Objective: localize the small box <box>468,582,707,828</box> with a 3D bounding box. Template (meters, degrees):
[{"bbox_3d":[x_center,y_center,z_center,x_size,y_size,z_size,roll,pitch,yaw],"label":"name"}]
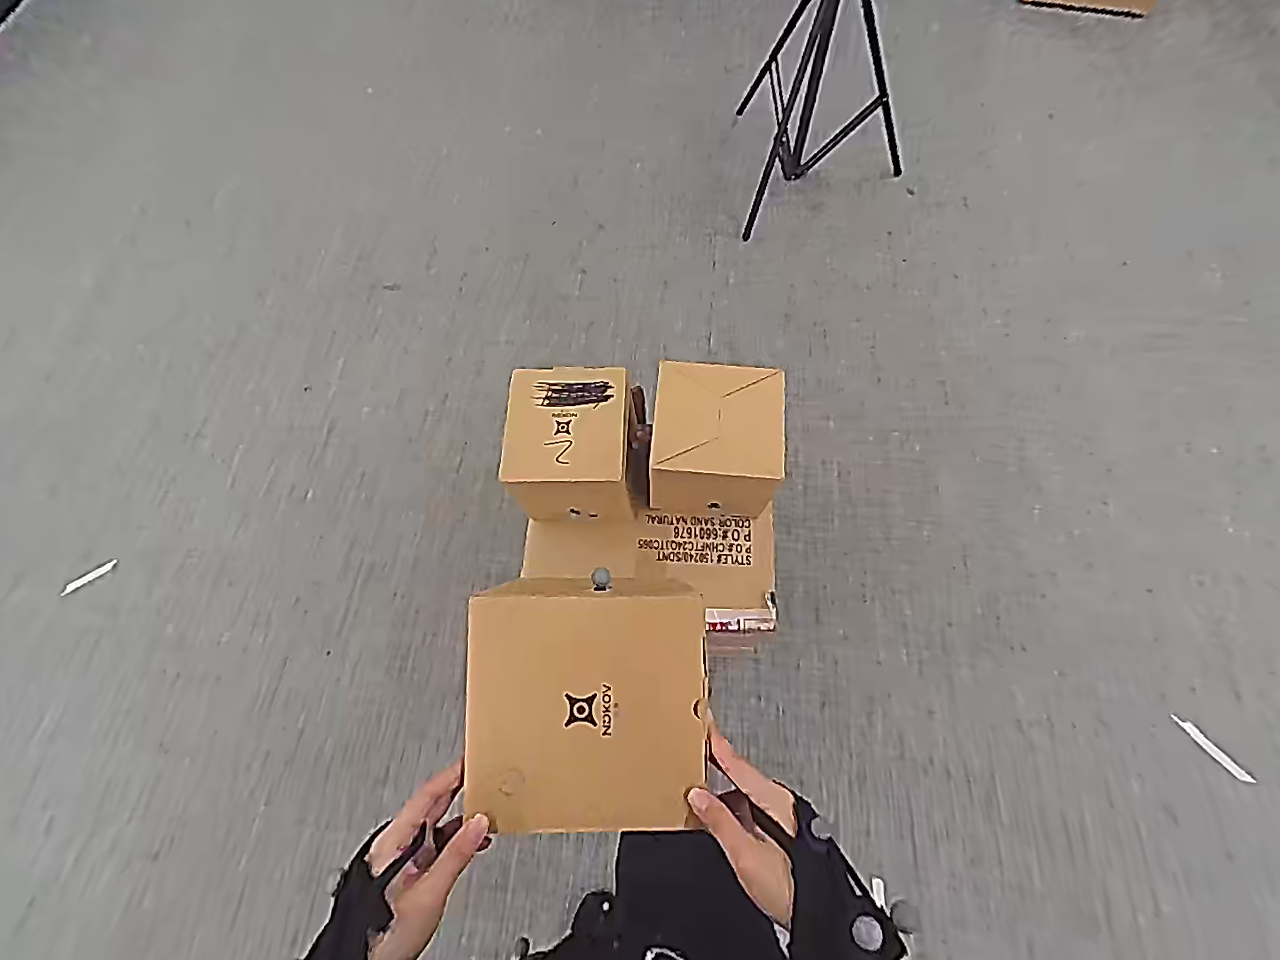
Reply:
[{"bbox_3d":[-0.040,0.181,0.481,0.179,0.176,0.168,0,83,-3],"label":"small box"}]
